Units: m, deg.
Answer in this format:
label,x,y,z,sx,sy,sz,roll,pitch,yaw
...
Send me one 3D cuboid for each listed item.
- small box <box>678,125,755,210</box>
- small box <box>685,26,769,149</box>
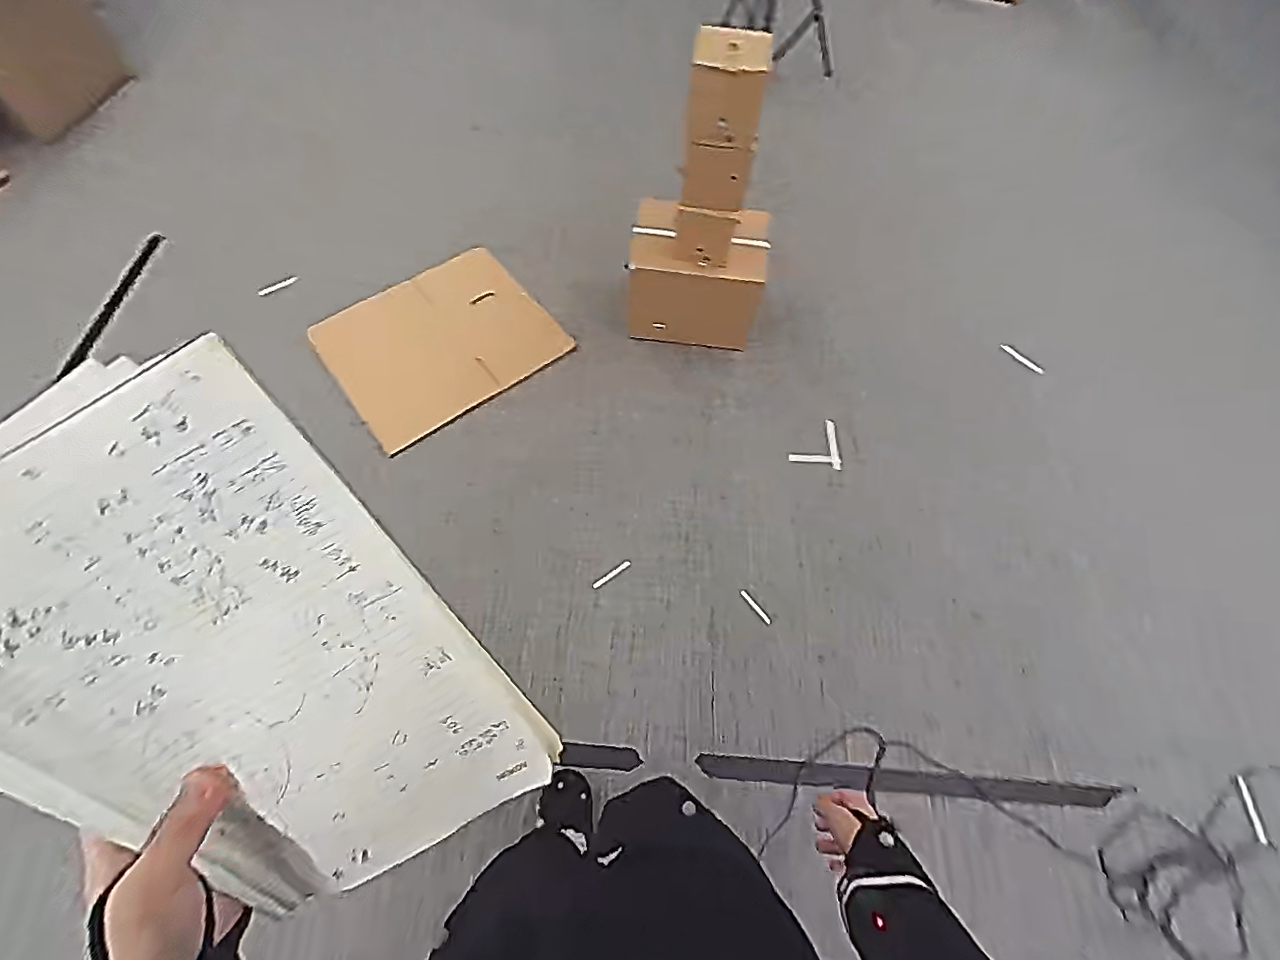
label,x,y,z,sx,sy,sz,roll,pitch,yaw
small box,0.196,-0.830,1.408,0.179,0.176,0.168,6,62,2
small box,0.199,-0.916,1.267,0.168,0.176,0.179,8,63,3
